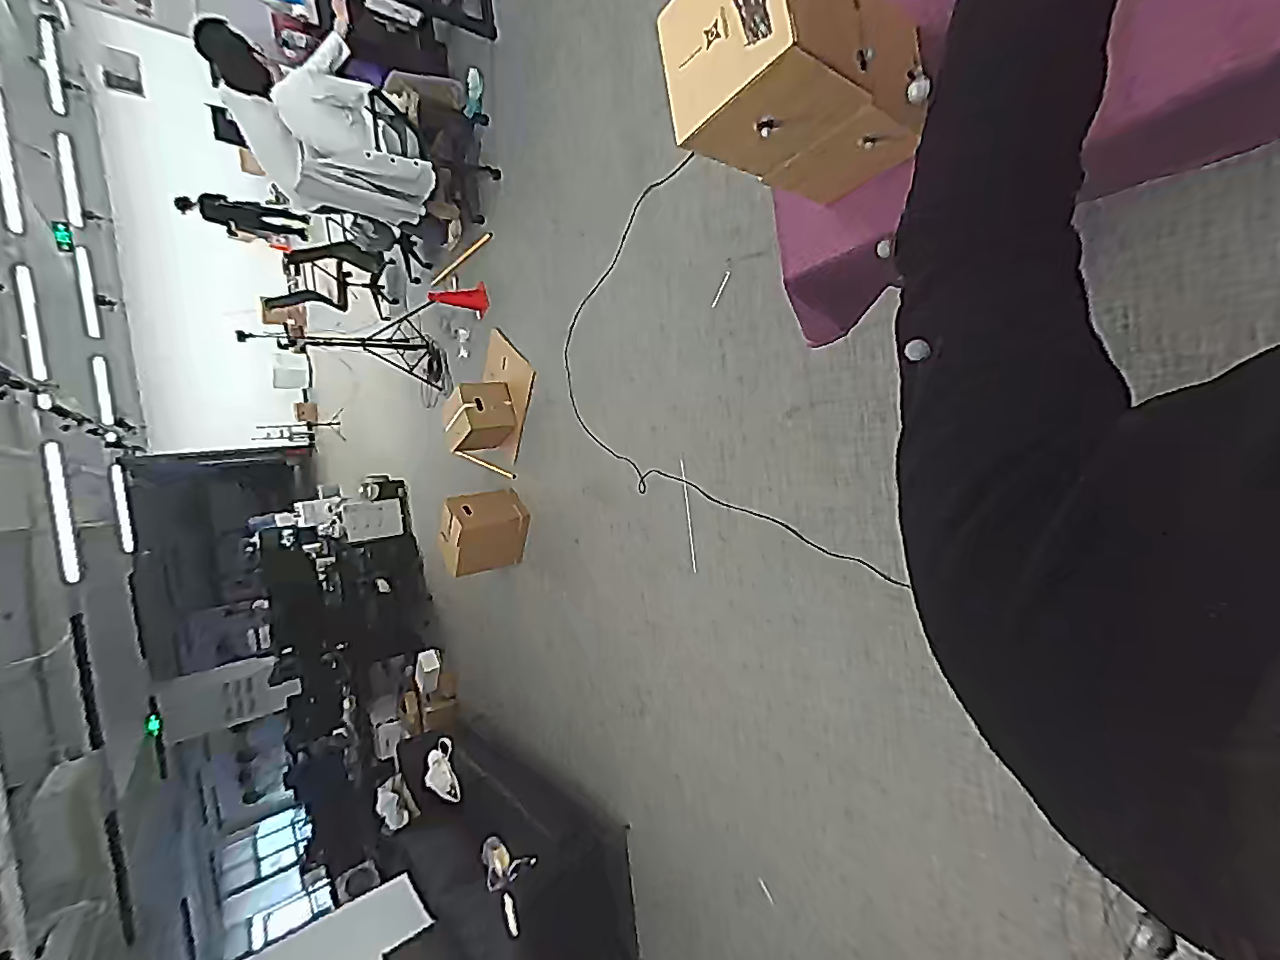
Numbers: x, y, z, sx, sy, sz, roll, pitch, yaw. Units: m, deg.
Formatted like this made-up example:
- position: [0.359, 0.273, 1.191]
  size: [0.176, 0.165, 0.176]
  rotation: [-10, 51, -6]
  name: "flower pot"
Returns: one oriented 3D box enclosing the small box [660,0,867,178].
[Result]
- position: [0.152, -0.502, 0.651]
  size: [0.179, 0.176, 0.168]
  rotation: [-10, 89, 52]
  name: "small box"
